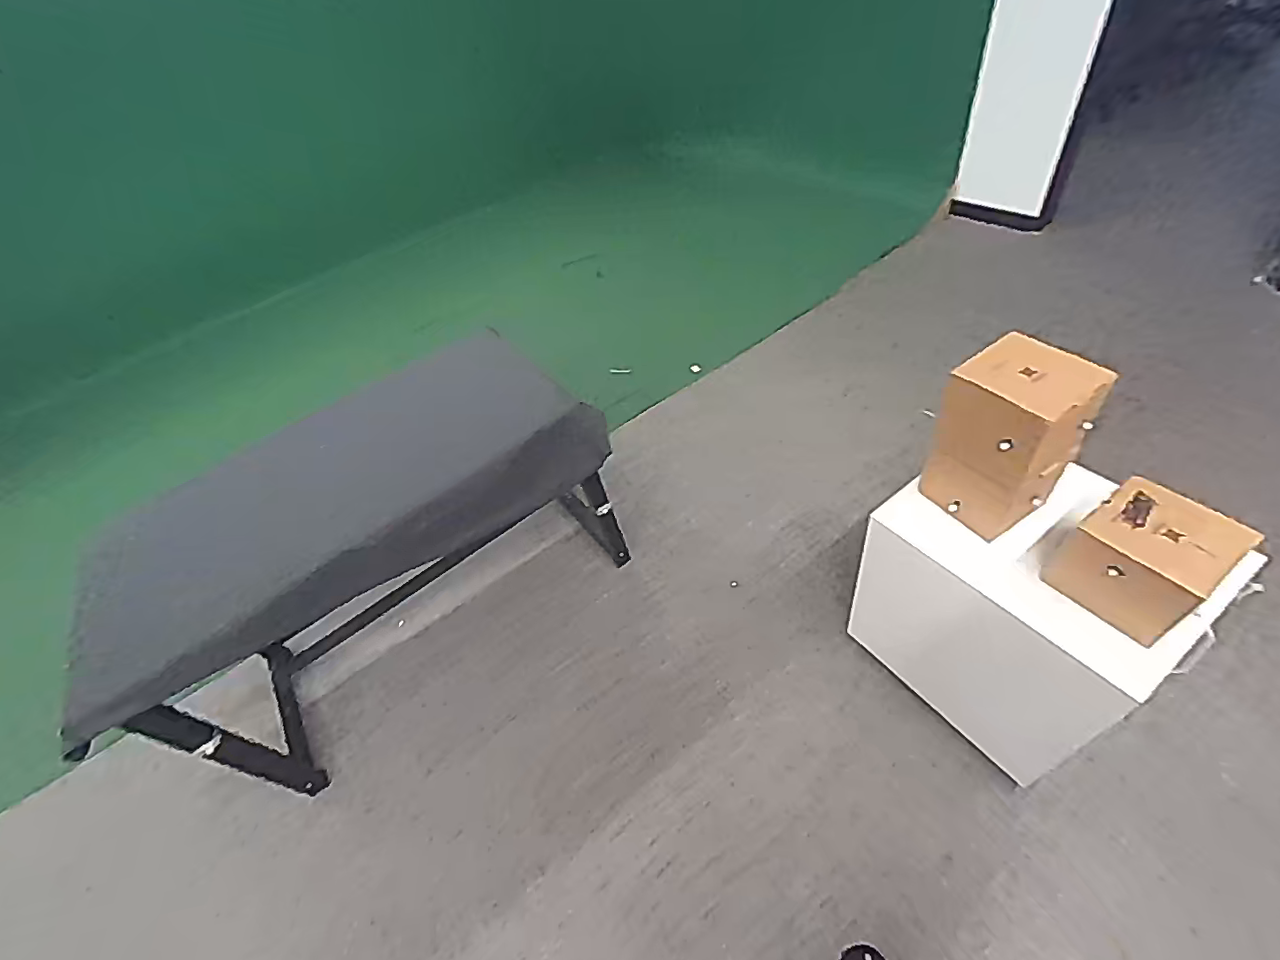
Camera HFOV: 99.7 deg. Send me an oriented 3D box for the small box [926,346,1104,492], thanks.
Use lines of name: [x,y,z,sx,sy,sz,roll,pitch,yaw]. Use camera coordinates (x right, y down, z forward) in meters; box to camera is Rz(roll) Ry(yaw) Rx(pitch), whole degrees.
small box: [0.647,-0.102,0.957,0.168,0.176,0.179,-30,48,-18]

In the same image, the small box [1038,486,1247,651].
small box: [0.823,0.149,0.908,0.168,0.176,0.179,-32,50,-18]
